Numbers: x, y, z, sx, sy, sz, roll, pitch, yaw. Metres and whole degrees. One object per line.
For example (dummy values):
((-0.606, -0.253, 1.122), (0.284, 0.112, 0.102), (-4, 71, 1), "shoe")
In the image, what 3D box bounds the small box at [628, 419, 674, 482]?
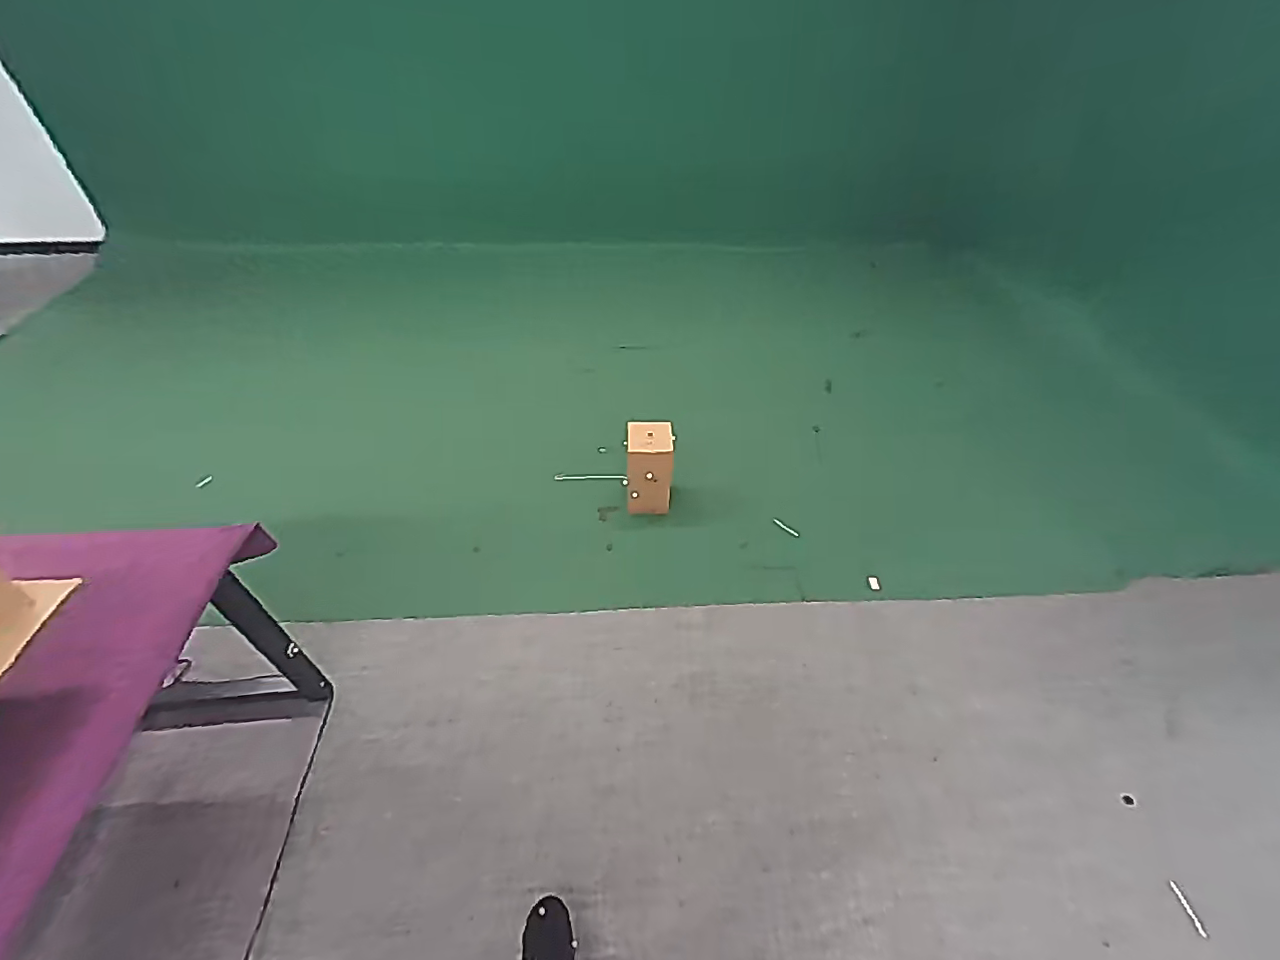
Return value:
((0.038, -0.111, 2.047), (0.168, 0.176, 0.179), (0, 45, -1), "small box")

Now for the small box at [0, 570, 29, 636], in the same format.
((-1.003, 0.178, 0.708), (0.179, 0.176, 0.168), (-3, 42, -6), "small box")
